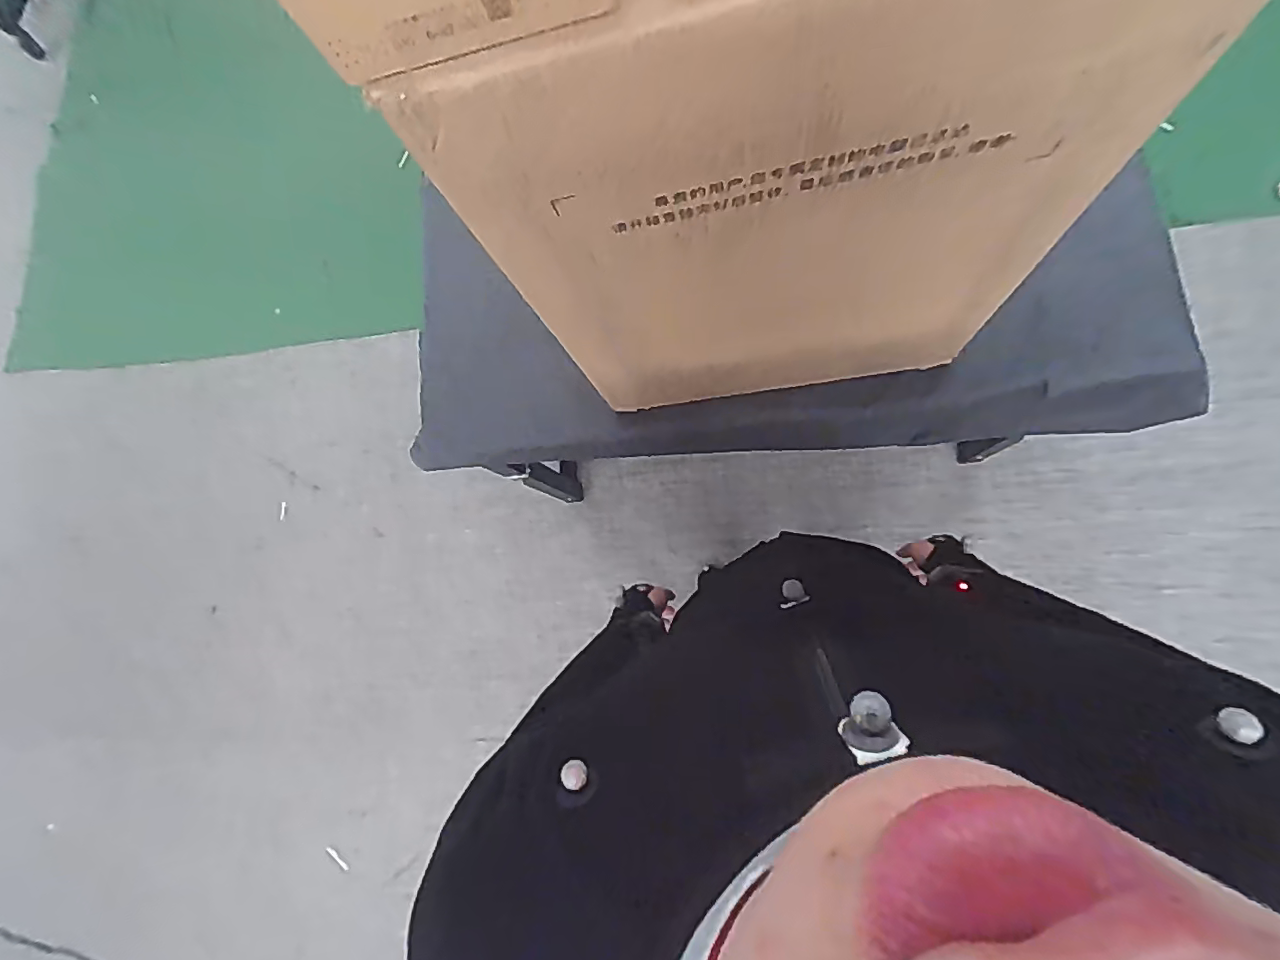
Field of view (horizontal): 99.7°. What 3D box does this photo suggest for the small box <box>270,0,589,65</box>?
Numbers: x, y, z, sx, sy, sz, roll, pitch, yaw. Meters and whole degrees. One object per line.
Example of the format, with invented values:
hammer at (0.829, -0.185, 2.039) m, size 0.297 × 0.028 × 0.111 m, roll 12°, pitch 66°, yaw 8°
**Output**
small box at (-0.122, -0.330, 0.238) m, size 0.168 × 0.176 × 0.179 m, roll -7°, pitch 80°, yaw 11°
